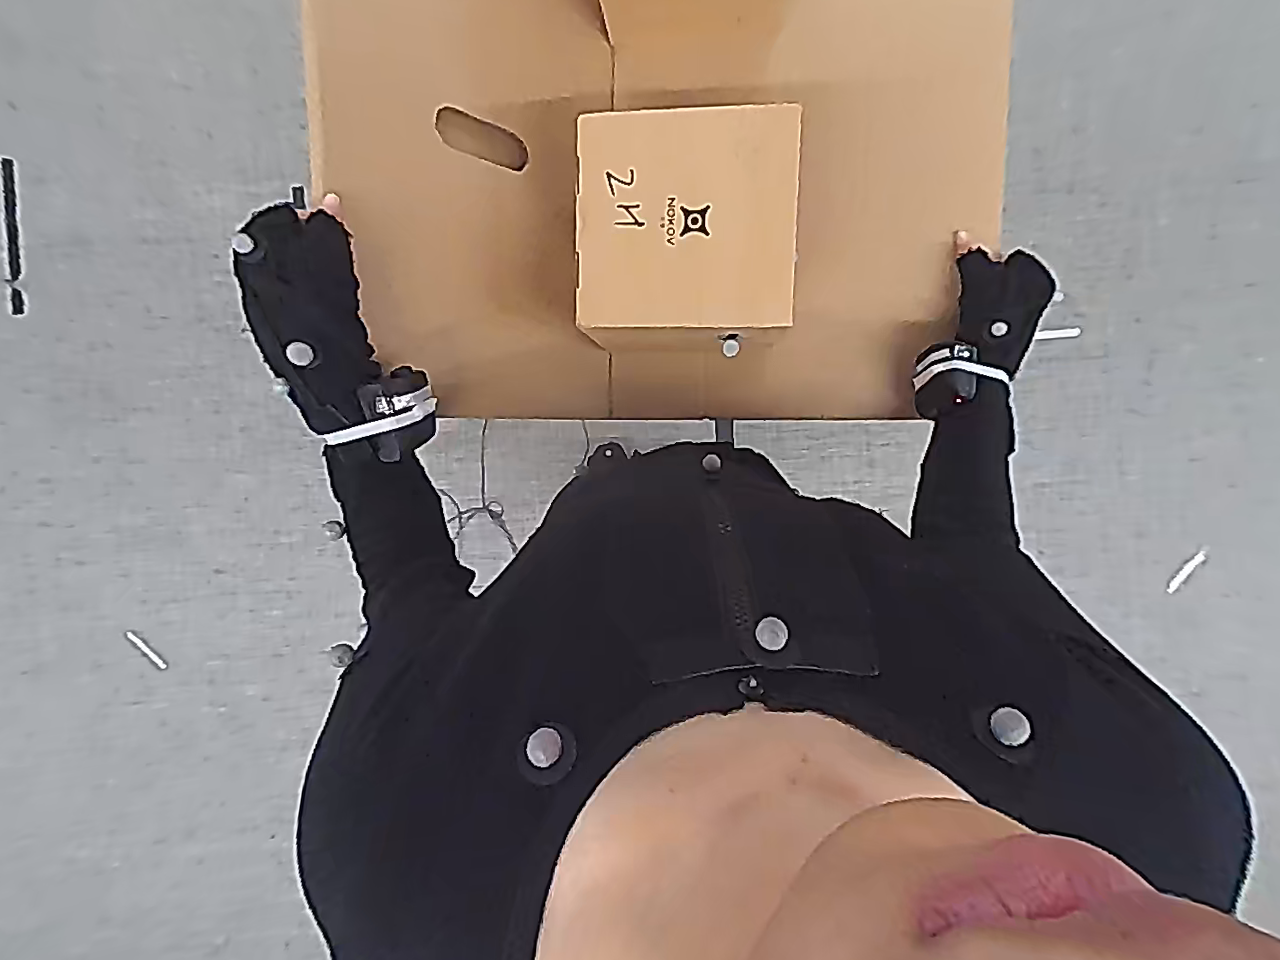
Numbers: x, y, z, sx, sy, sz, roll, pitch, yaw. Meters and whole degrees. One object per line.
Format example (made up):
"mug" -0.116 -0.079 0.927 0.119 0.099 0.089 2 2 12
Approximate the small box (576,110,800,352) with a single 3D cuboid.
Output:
"small box" 0.044 -0.217 0.514 0.179 0.176 0.168 3 96 7

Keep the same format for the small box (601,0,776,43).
"small box" 0.043 -0.535 0.483 0.179 0.176 0.168 -1 96 6
